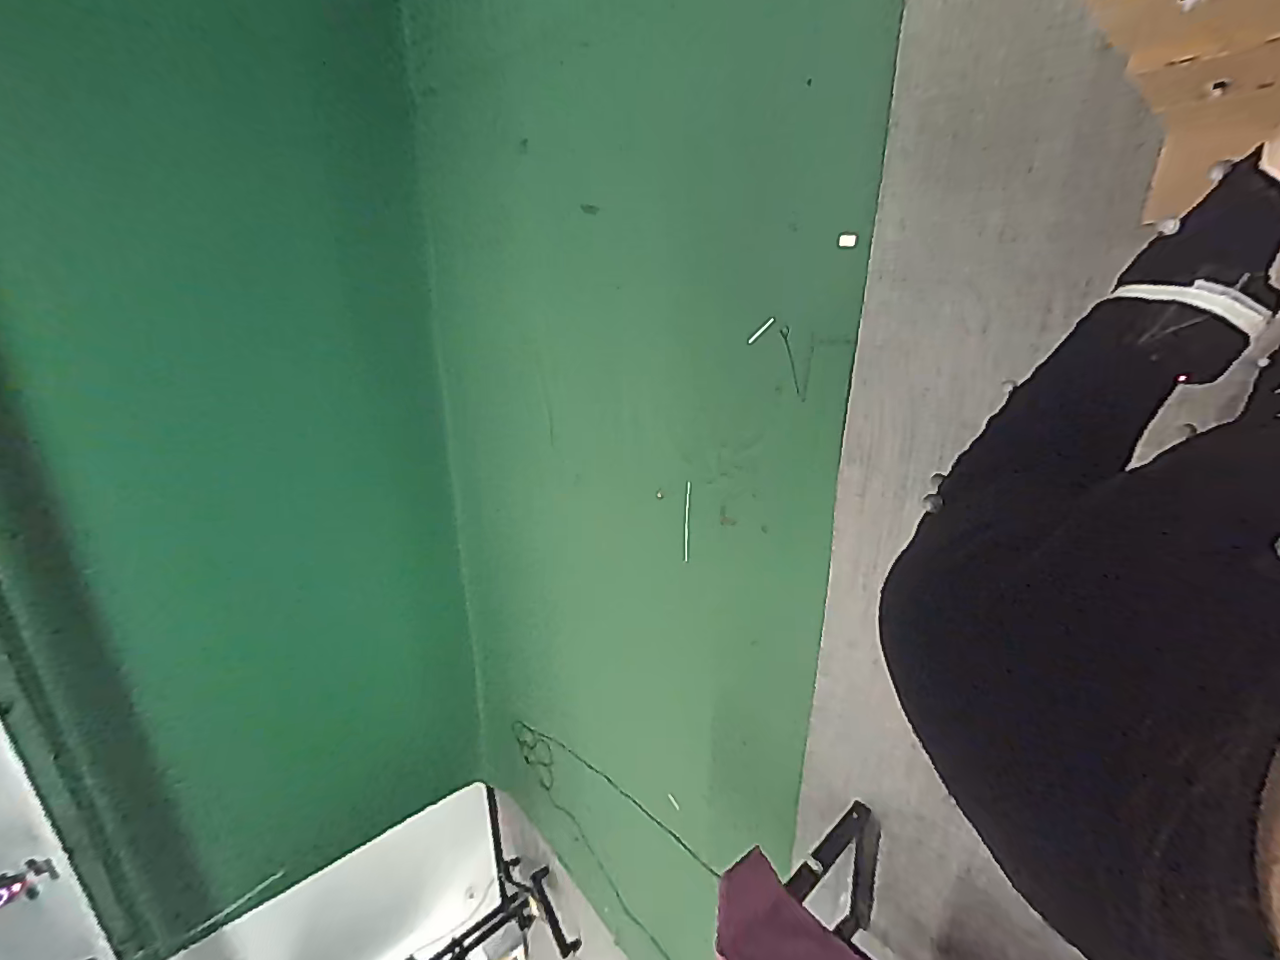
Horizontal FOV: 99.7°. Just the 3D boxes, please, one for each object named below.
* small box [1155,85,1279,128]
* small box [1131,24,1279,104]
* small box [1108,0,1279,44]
[{"bbox_3d":[0.795,-0.568,0.675,0.179,0.176,0.168,20,114,46],"label":"small box"},{"bbox_3d":[0.669,-0.538,0.576,0.168,0.176,0.179,22,118,45],"label":"small box"},{"bbox_3d":[0.544,-0.516,0.471,0.179,0.176,0.168,28,121,42],"label":"small box"}]
